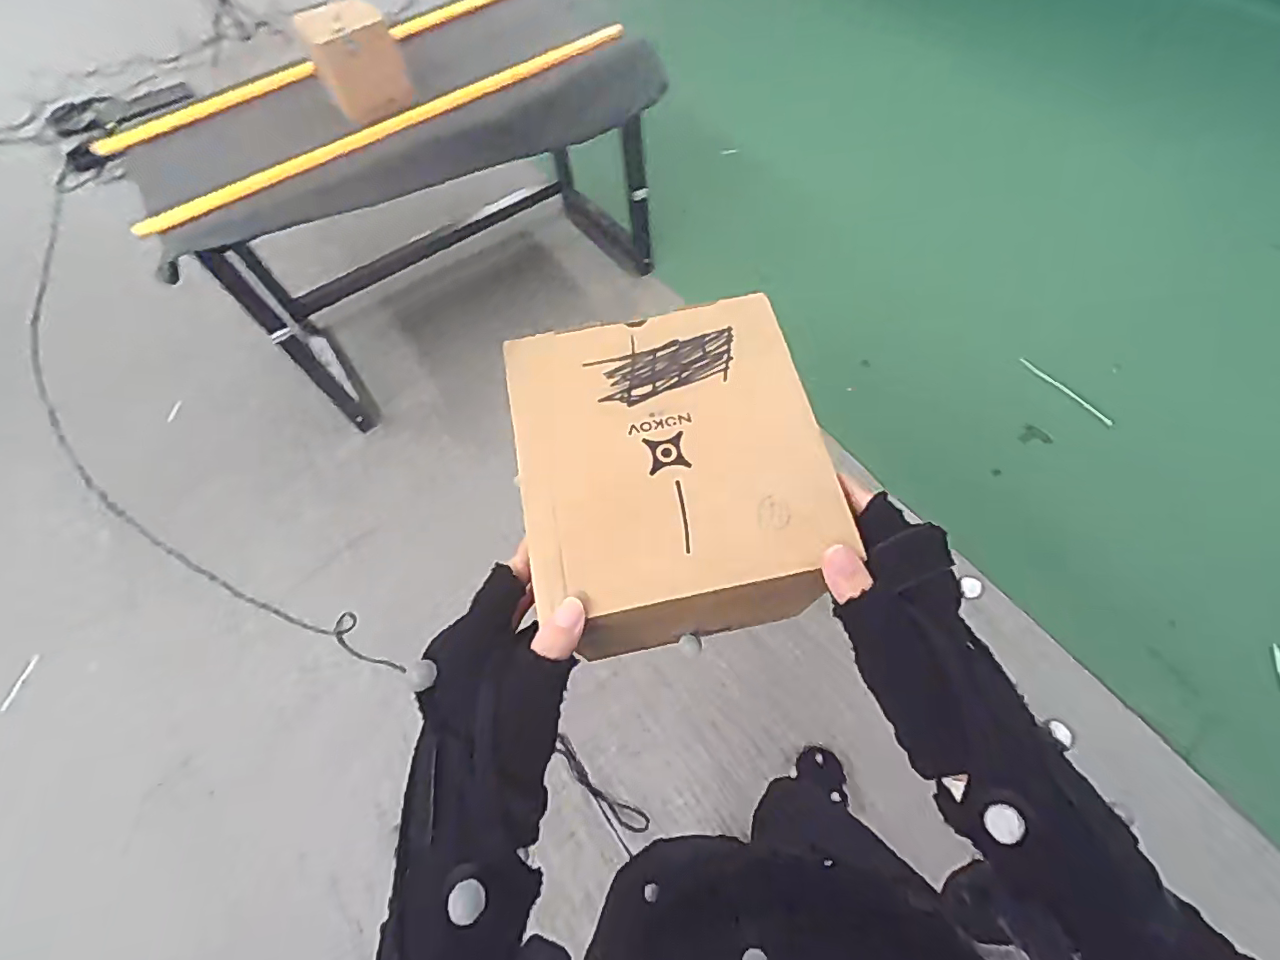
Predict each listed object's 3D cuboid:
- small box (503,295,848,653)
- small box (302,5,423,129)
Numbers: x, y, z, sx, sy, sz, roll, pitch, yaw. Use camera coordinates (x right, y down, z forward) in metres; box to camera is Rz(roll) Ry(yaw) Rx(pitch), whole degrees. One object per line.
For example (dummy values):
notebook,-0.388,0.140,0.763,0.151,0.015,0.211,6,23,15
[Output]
small box,0.014,0.008,0.377,0.168,0.176,0.179,-13,66,-1
small box,-0.650,-0.974,1.281,0.168,0.176,0.179,-35,63,-13
